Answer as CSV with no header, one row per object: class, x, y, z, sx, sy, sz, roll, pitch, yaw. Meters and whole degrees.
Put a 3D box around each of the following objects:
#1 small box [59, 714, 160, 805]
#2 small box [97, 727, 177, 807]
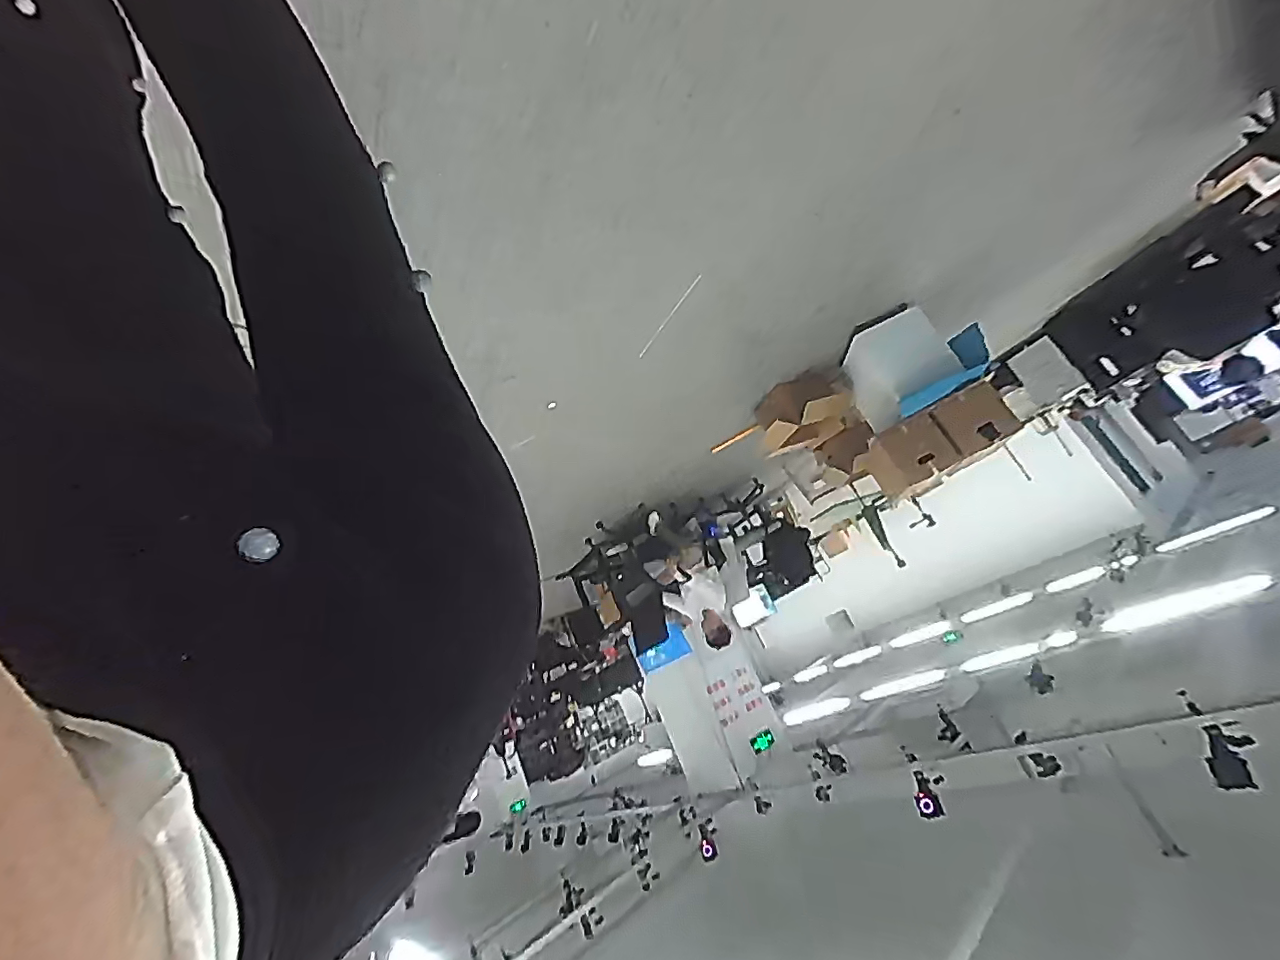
small box,-1.456,0.765,1.488,0.168,0.176,0.179,-11,158,-36
small box,-1.580,0.899,1.700,0.168,0.176,0.179,-10,155,-38
